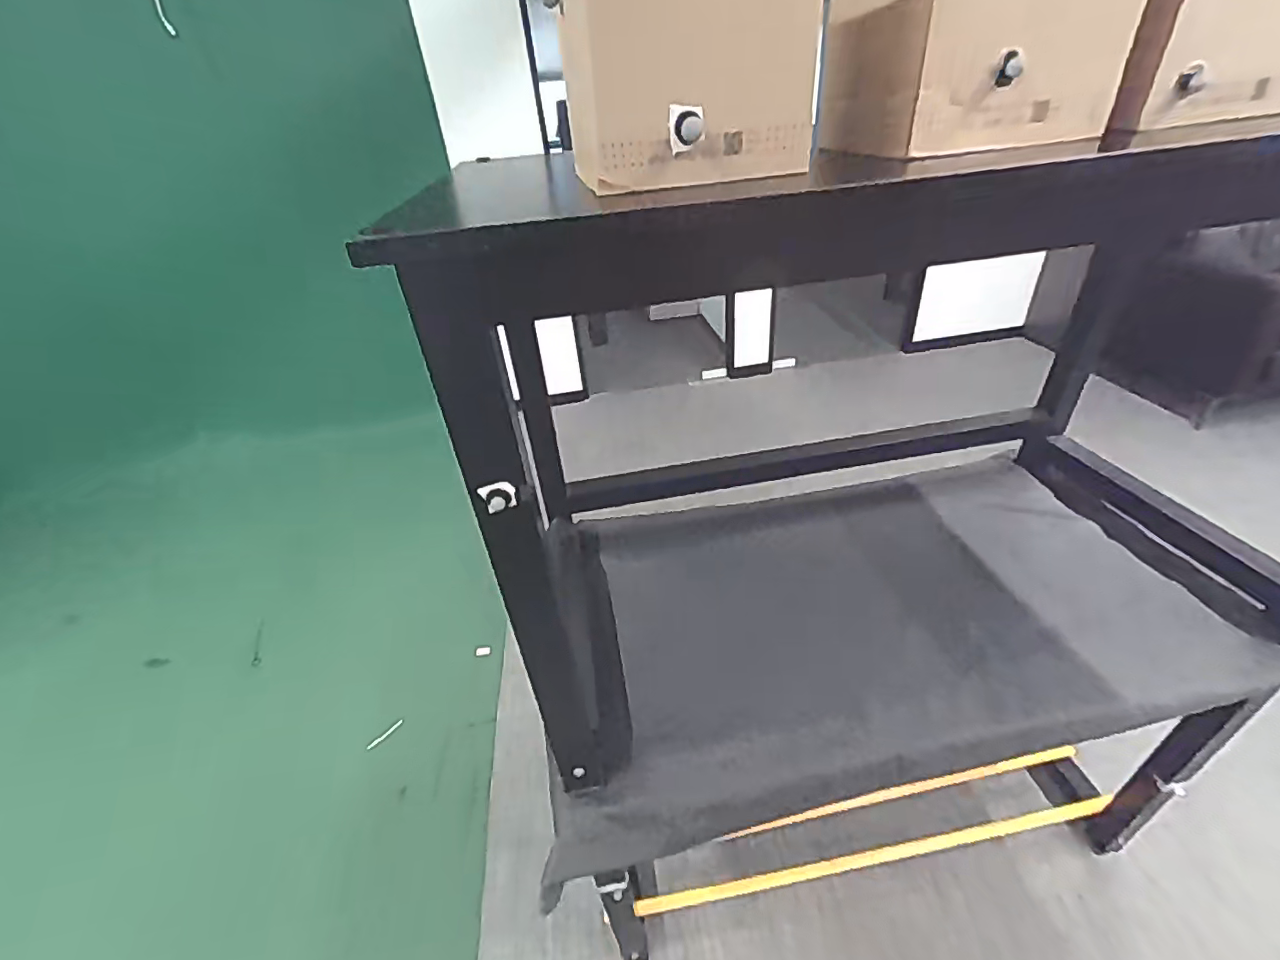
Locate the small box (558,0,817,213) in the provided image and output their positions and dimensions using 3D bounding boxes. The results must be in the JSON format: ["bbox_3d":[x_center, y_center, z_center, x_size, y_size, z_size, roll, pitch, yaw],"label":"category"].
[{"bbox_3d":[0.027,-0.325,0.442,0.168,0.176,0.179,-11,35,-6],"label":"small box"}]
